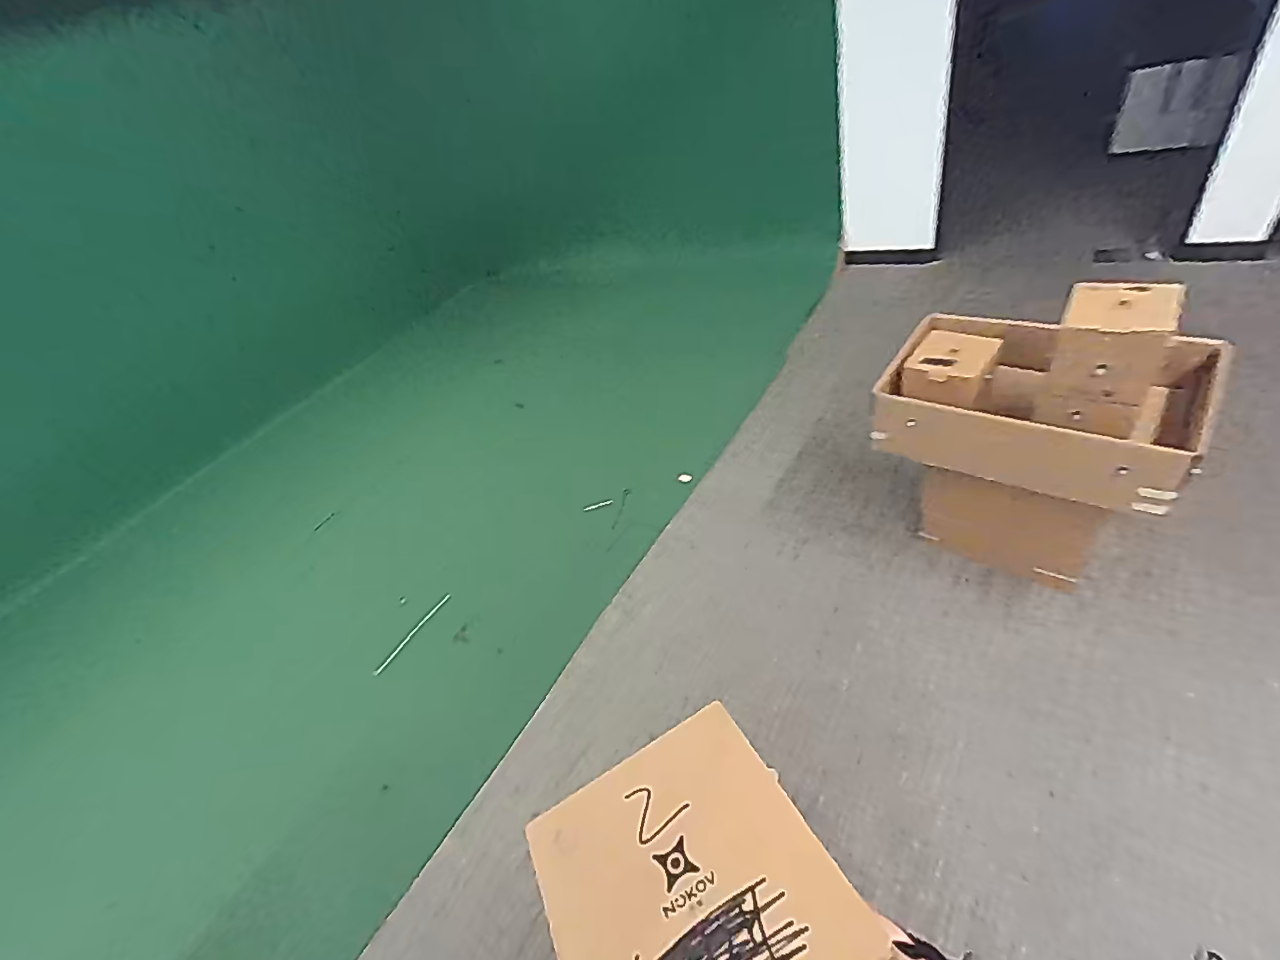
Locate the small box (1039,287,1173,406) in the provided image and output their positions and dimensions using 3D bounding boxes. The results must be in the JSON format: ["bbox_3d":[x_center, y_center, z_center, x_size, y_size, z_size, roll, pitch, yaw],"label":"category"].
[{"bbox_3d":[0.947,-0.274,1.111,0.168,0.176,0.179,18,55,36],"label":"small box"}]
